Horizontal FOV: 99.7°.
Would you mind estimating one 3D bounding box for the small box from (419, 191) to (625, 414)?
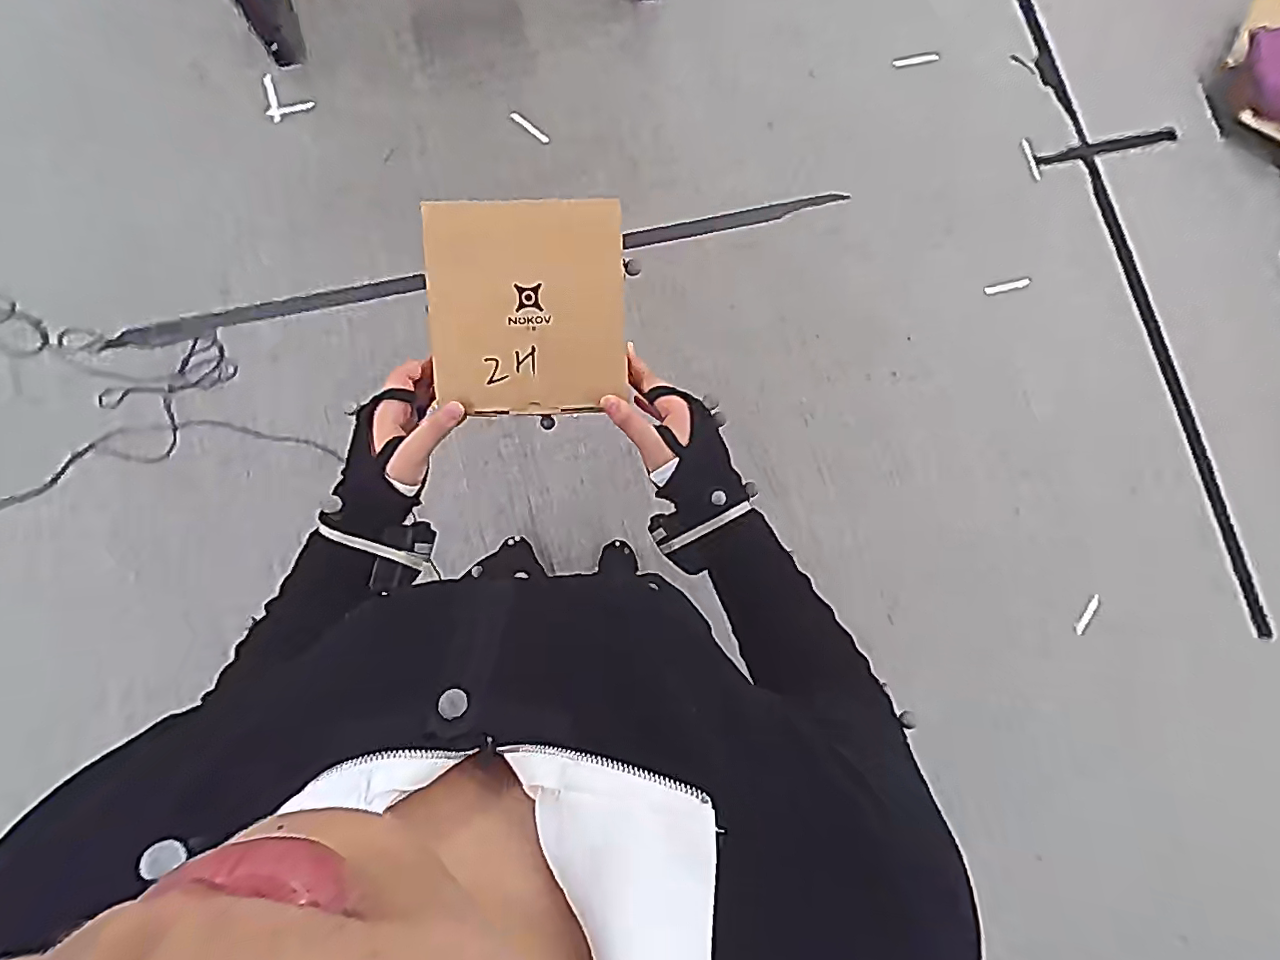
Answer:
[{"bbox_3d":[-0.103,-0.158,0.532,0.168,0.176,0.179,-3,96,-3],"label":"small box"}]
